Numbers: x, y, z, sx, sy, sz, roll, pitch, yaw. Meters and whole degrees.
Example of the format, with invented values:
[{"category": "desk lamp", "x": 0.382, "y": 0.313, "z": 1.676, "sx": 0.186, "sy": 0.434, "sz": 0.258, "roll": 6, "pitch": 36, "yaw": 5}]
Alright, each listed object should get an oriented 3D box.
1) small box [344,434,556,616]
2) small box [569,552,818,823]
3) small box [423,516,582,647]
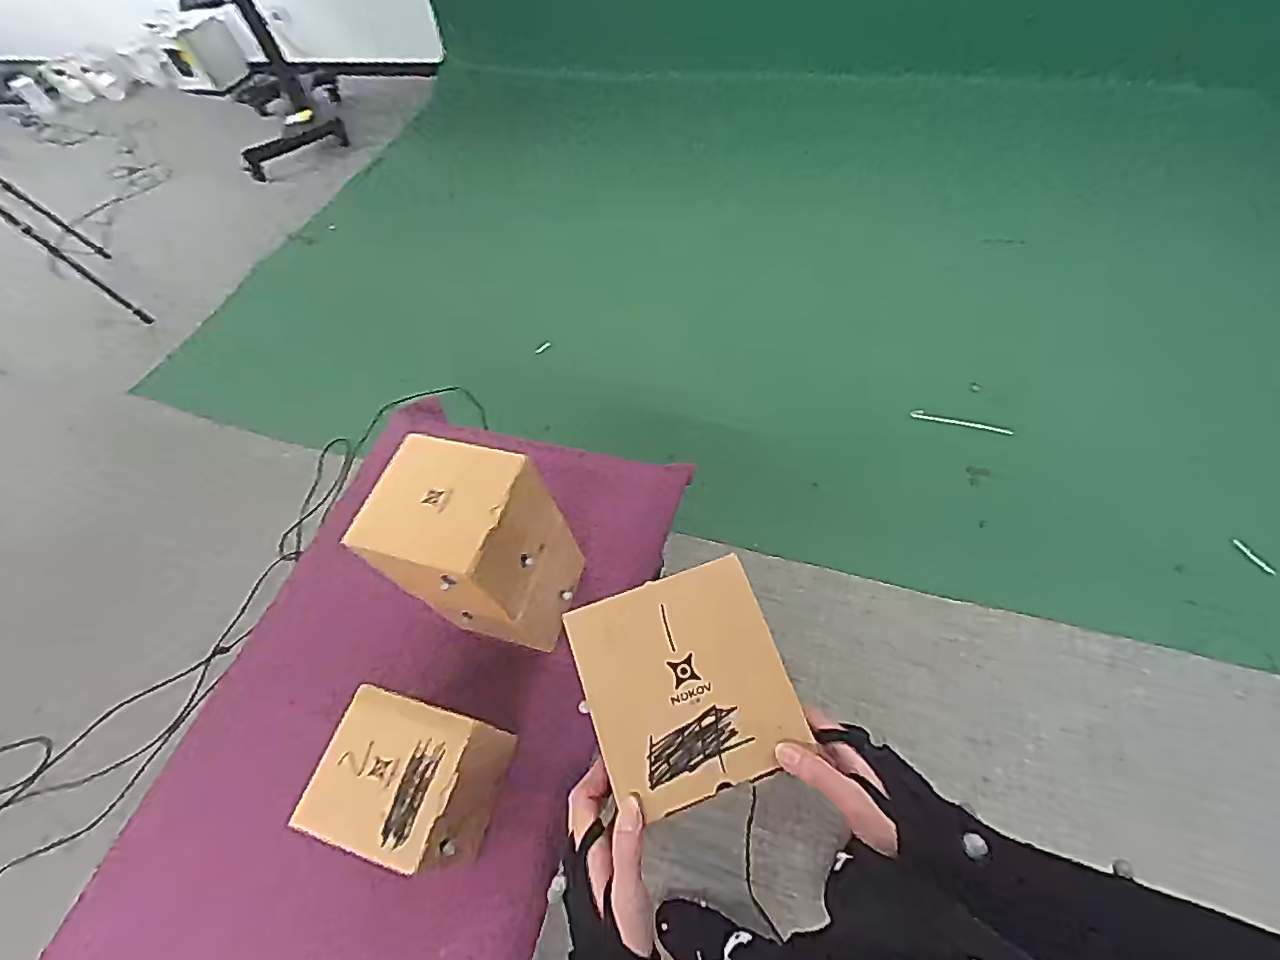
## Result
[{"category": "small box", "x": -0.235, "y": 0.064, "z": 0.717, "sx": 0.179, "sy": 0.176, "sz": 0.168, "roll": 11, "pitch": 60, "yaw": 14}, {"category": "small box", "x": 0.042, "y": 0.190, "z": 0.524, "sx": 0.168, "sy": 0.176, "sz": 0.179, "roll": -18, "pitch": 71, "yaw": -7}, {"category": "small box", "x": -0.212, "y": 0.149, "z": 0.854, "sx": 0.179, "sy": 0.176, "sz": 0.168, "roll": 11, "pitch": 61, "yaw": 15}]
